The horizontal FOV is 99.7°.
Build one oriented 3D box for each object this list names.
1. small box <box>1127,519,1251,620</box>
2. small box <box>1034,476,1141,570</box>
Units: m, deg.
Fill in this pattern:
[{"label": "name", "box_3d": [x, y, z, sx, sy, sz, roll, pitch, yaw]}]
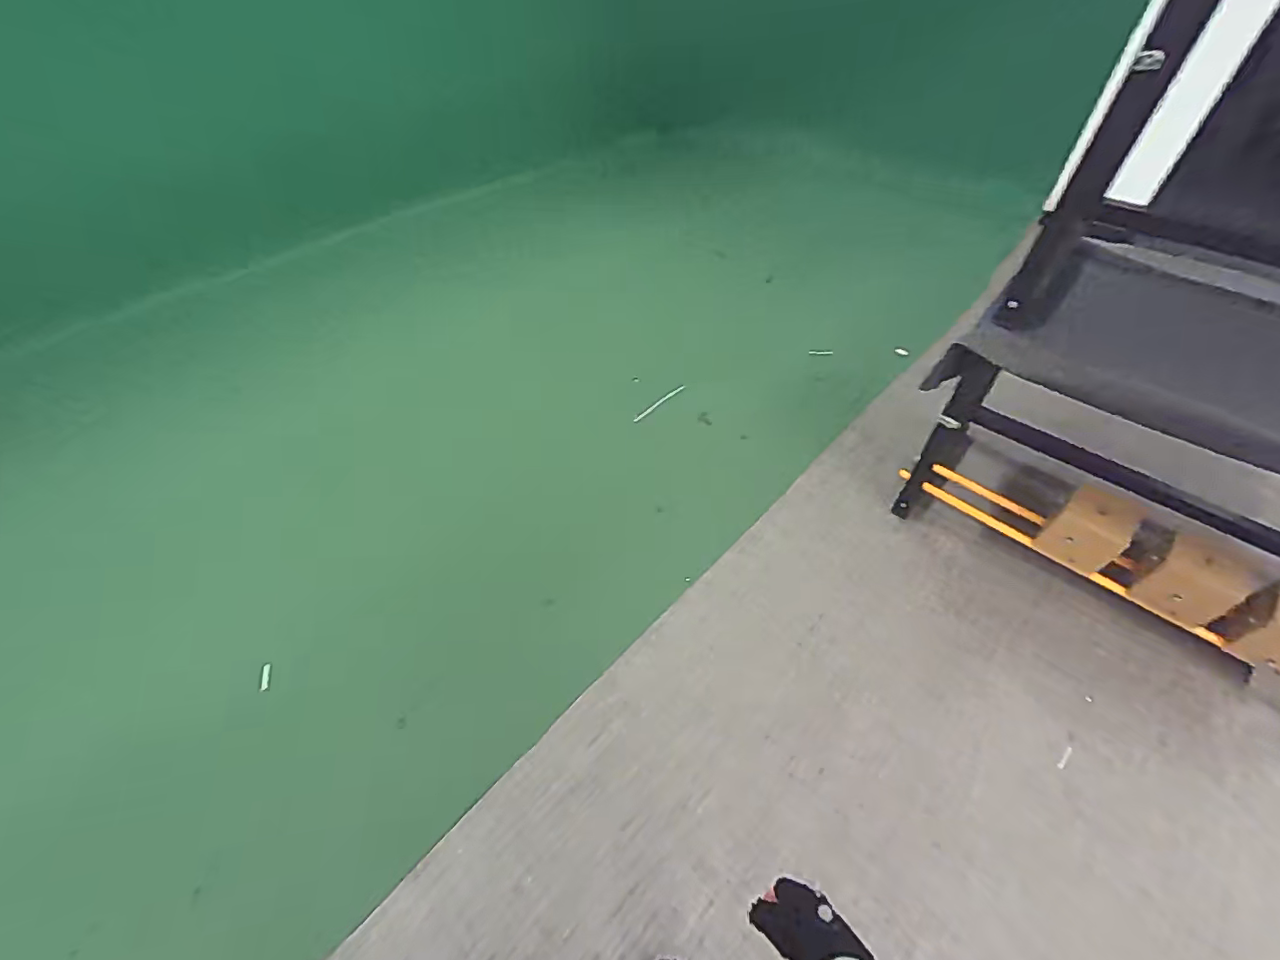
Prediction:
[{"label": "small box", "box_3d": [1.486, 0.248, 1.474, 0.168, 0.176, 0.179, 33, 58, 27]}, {"label": "small box", "box_3d": [1.300, 0.129, 1.584, 0.168, 0.176, 0.179, 35, 59, 27]}]
